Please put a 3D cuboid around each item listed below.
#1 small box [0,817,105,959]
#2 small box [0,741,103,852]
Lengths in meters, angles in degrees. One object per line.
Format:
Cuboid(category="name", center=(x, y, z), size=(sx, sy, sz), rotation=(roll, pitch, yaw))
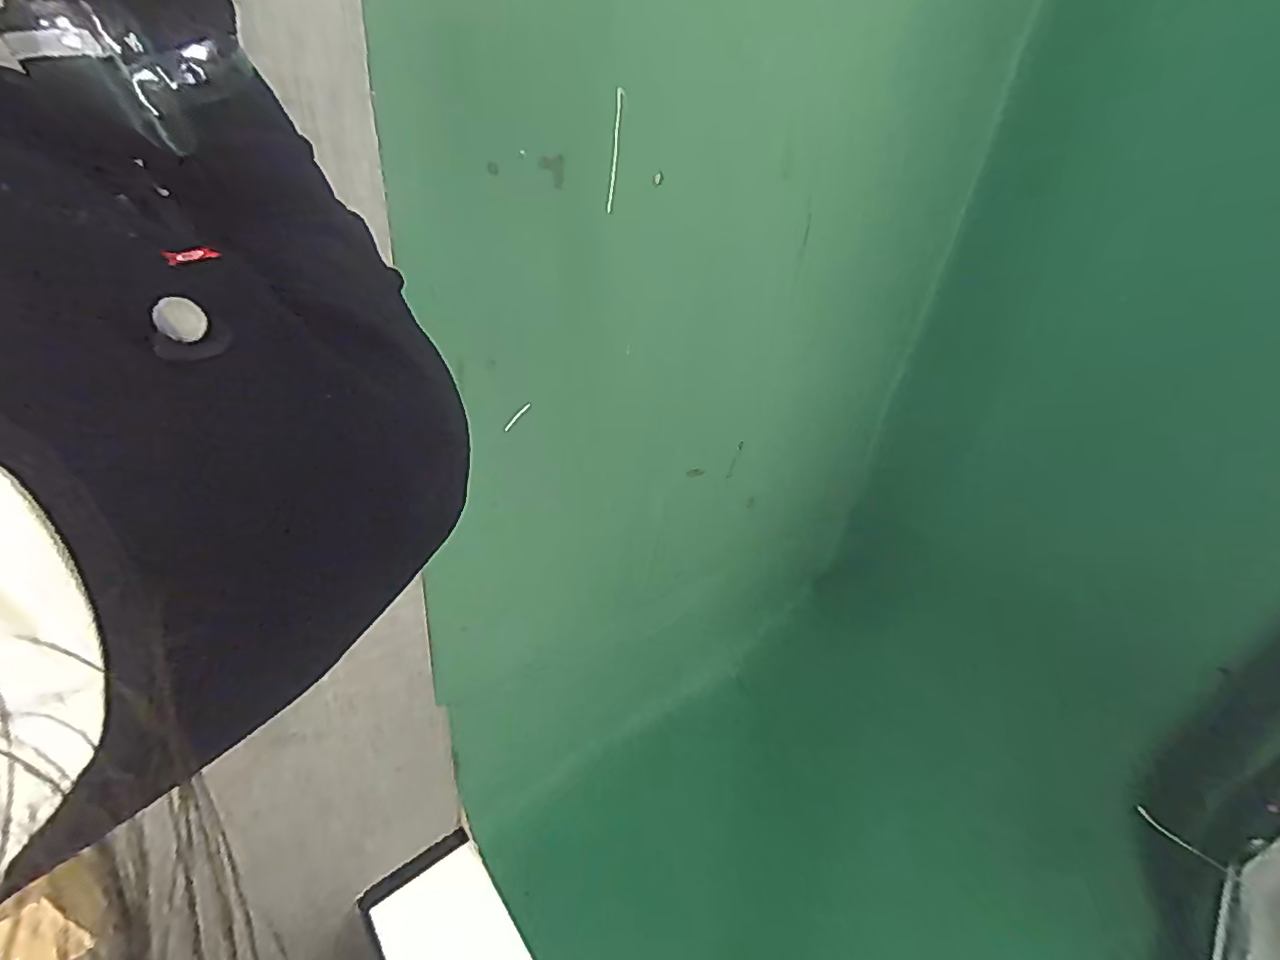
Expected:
Cuboid(category="small box", center=(-1.012, 0.689, 0.870), size=(0.168, 0.176, 0.179), rotation=(-23, 130, -35))
Cuboid(category="small box", center=(-1.117, 0.614, 0.970), size=(0.179, 0.176, 0.168), rotation=(-21, 129, -34))
